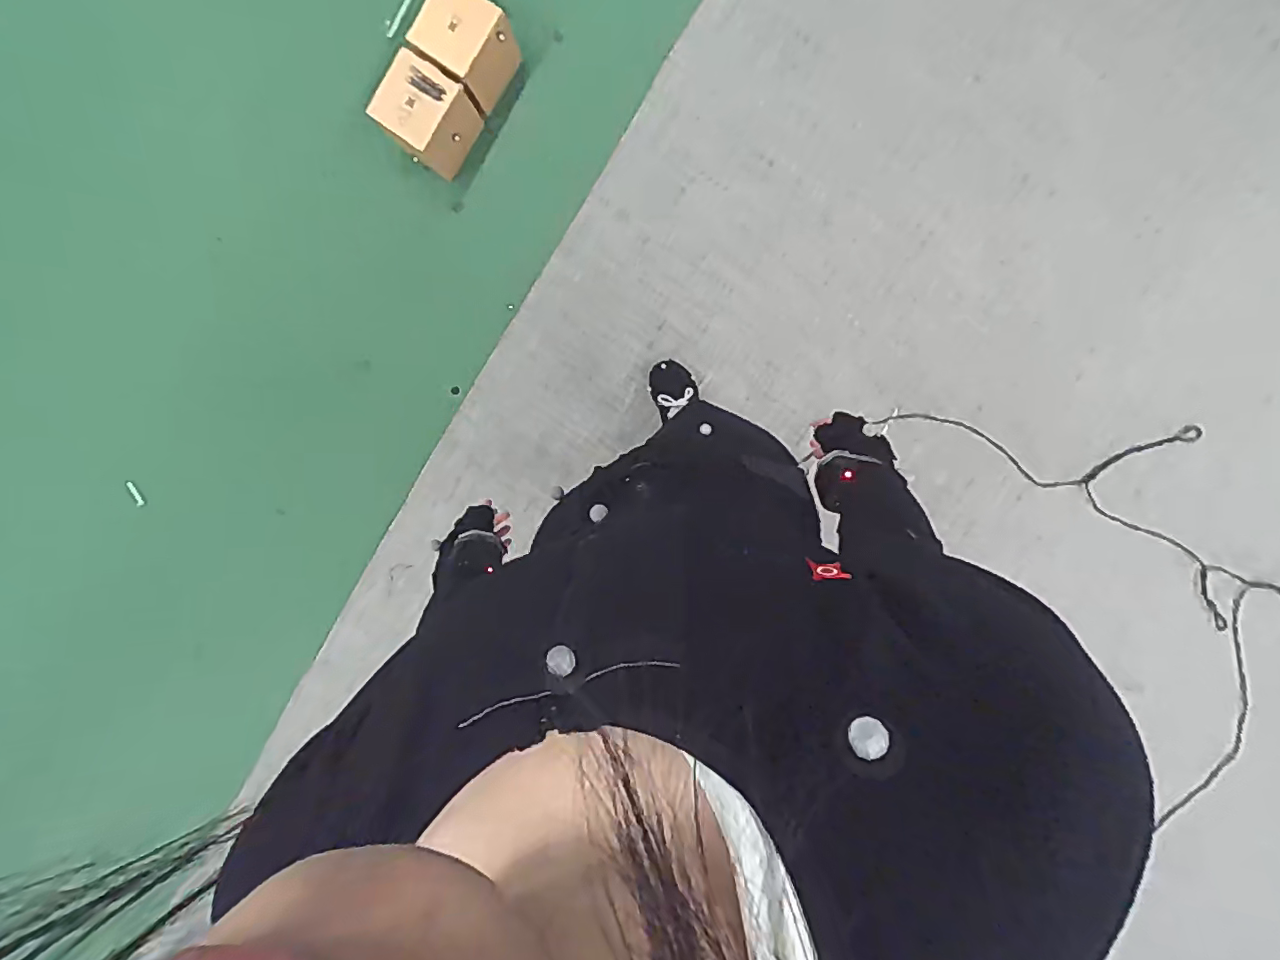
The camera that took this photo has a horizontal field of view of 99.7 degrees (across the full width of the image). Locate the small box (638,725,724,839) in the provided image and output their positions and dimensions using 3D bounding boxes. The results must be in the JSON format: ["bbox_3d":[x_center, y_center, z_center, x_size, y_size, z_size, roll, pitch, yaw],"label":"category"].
[{"bbox_3d":[0.106,0.803,1.458,0.168,0.176,0.179,28,97,0],"label":"small box"}]

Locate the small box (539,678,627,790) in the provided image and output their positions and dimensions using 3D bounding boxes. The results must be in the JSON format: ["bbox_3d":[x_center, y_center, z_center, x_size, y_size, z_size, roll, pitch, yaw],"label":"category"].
[{"bbox_3d":[-0.144,0.678,1.462,0.168,0.176,0.179,34,96,-2],"label":"small box"}]
